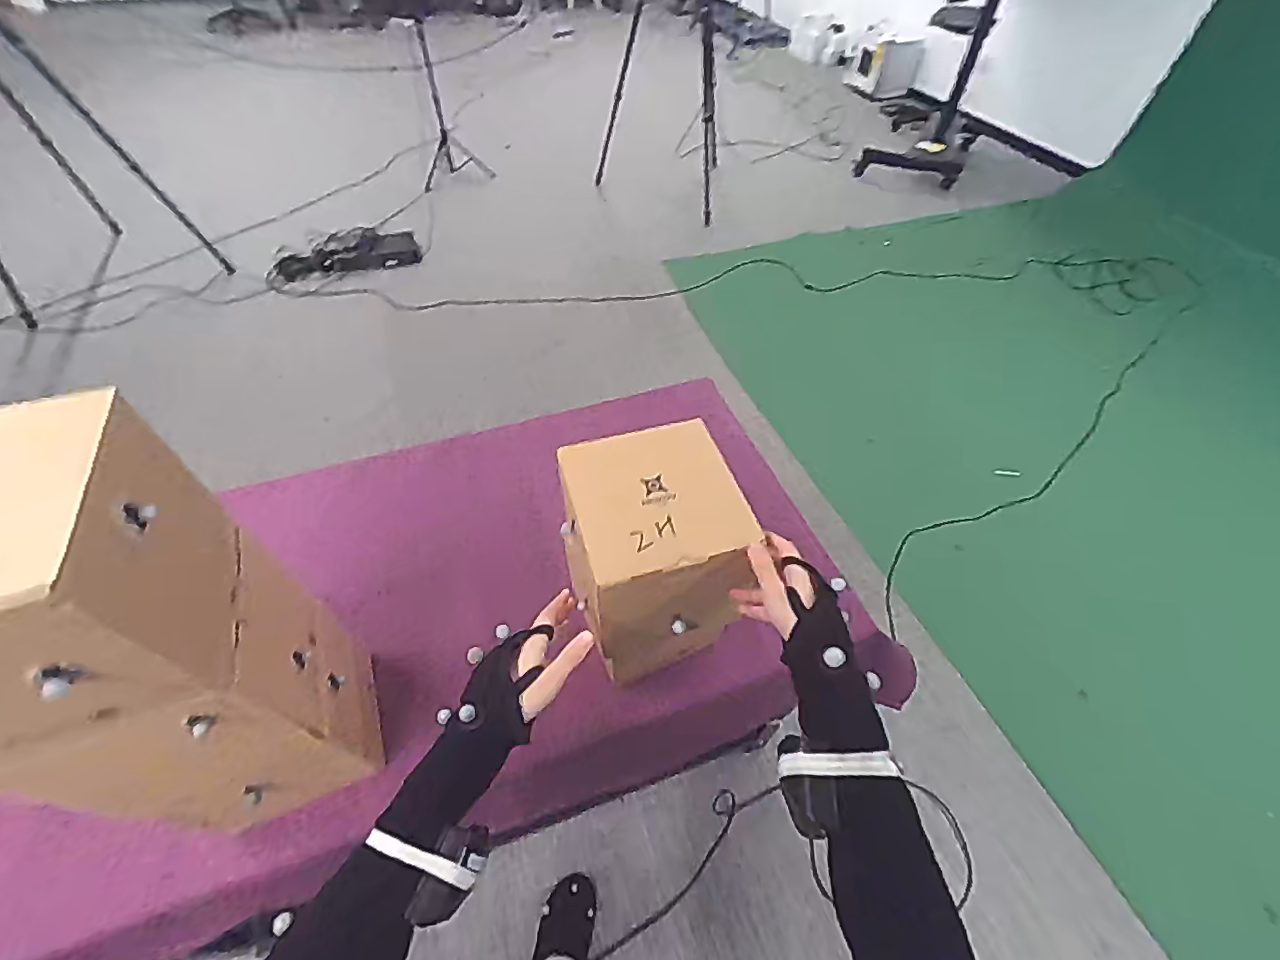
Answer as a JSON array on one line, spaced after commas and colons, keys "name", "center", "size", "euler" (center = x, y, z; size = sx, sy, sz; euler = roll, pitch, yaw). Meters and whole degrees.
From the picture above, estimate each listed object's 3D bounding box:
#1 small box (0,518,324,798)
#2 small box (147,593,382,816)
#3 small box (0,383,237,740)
[{"name": "small box", "center": [-0.427, 0.169, 0.507], "size": [0.179, 0.176, 0.168], "euler": [-17, 53, -16]}, {"name": "small box", "center": [-0.430, 0.267, 0.636], "size": [0.179, 0.176, 0.168], "euler": [-17, 53, -14]}, {"name": "small box", "center": [-0.423, 0.064, 0.382], "size": [0.168, 0.176, 0.179], "euler": [-15, 52, -15]}]
